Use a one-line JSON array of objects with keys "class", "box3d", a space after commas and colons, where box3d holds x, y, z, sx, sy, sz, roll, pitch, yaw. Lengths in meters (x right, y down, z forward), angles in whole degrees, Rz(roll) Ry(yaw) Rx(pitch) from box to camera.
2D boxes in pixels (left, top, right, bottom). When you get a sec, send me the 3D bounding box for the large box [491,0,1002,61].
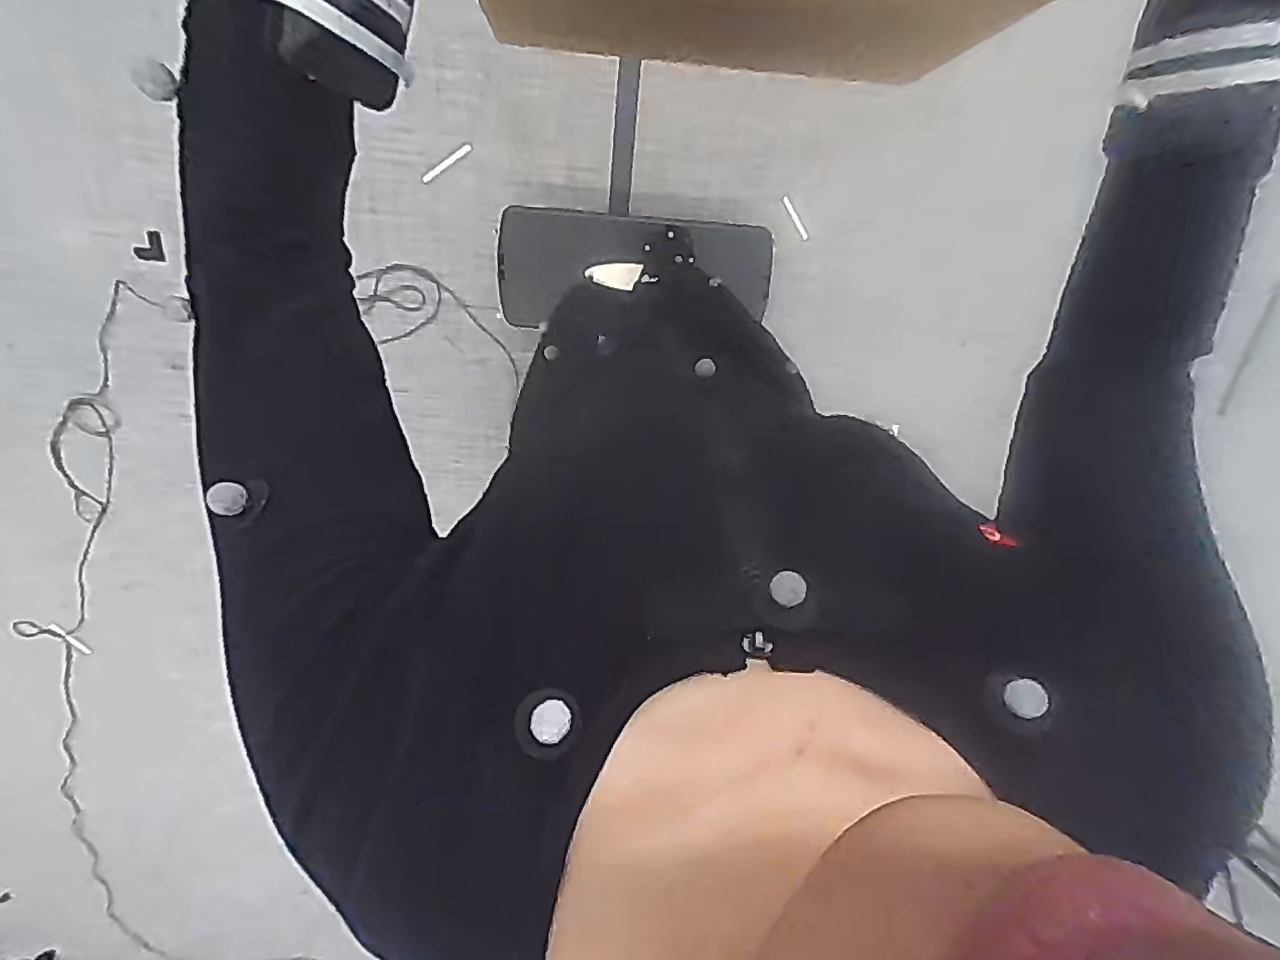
[{"class": "large box", "box3d": [0.086, -0.494, 0.318, 0.408, 0.320, 0.320, 0, 113, -6]}]
